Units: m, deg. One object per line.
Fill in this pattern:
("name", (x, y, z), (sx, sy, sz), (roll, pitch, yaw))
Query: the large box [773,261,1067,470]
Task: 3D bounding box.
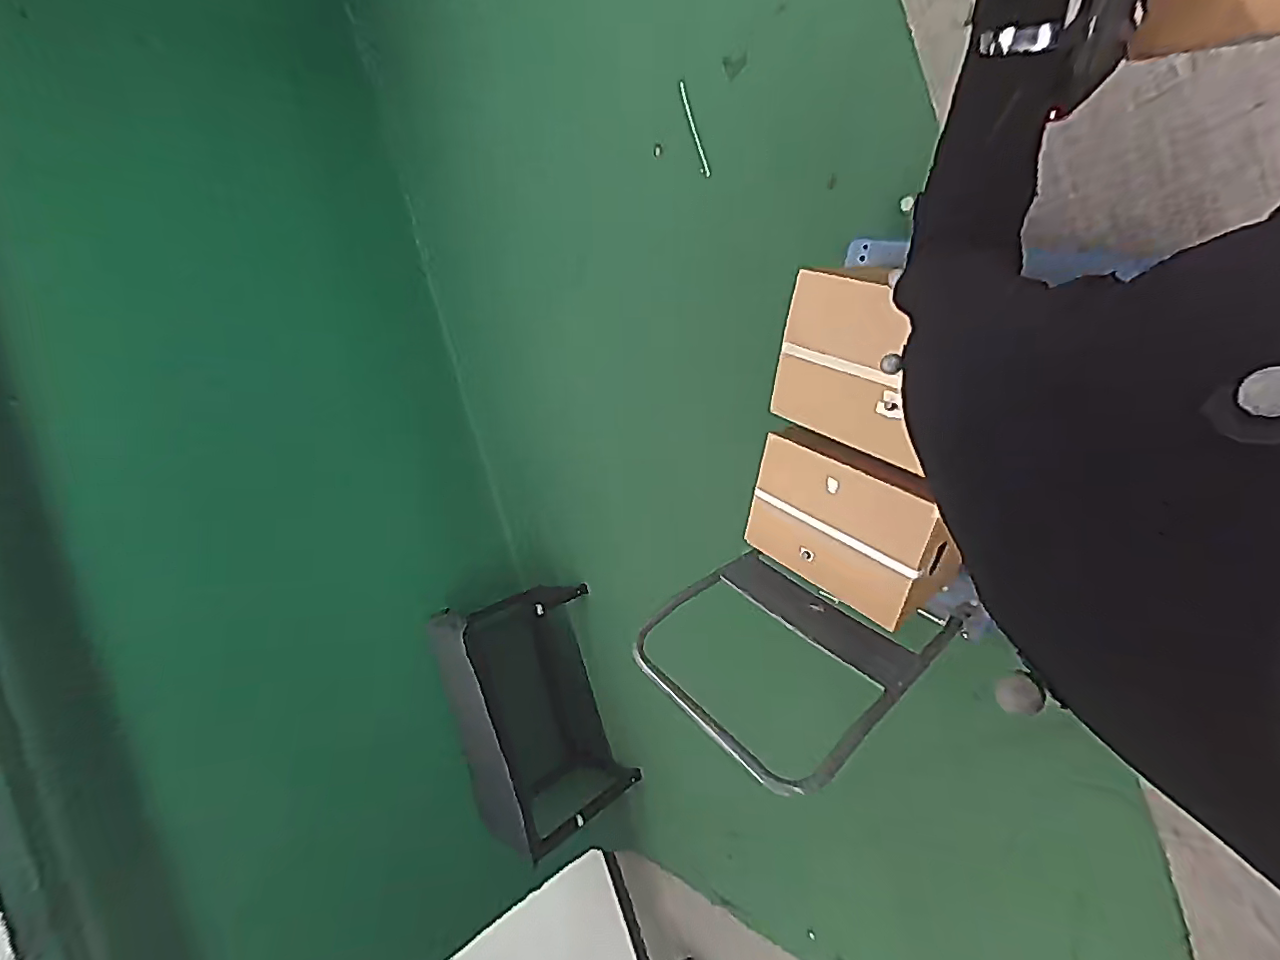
("large box", (0.553, -0.264, 1.121), (0.408, 0.320, 0.320), (32, 129, 40))
